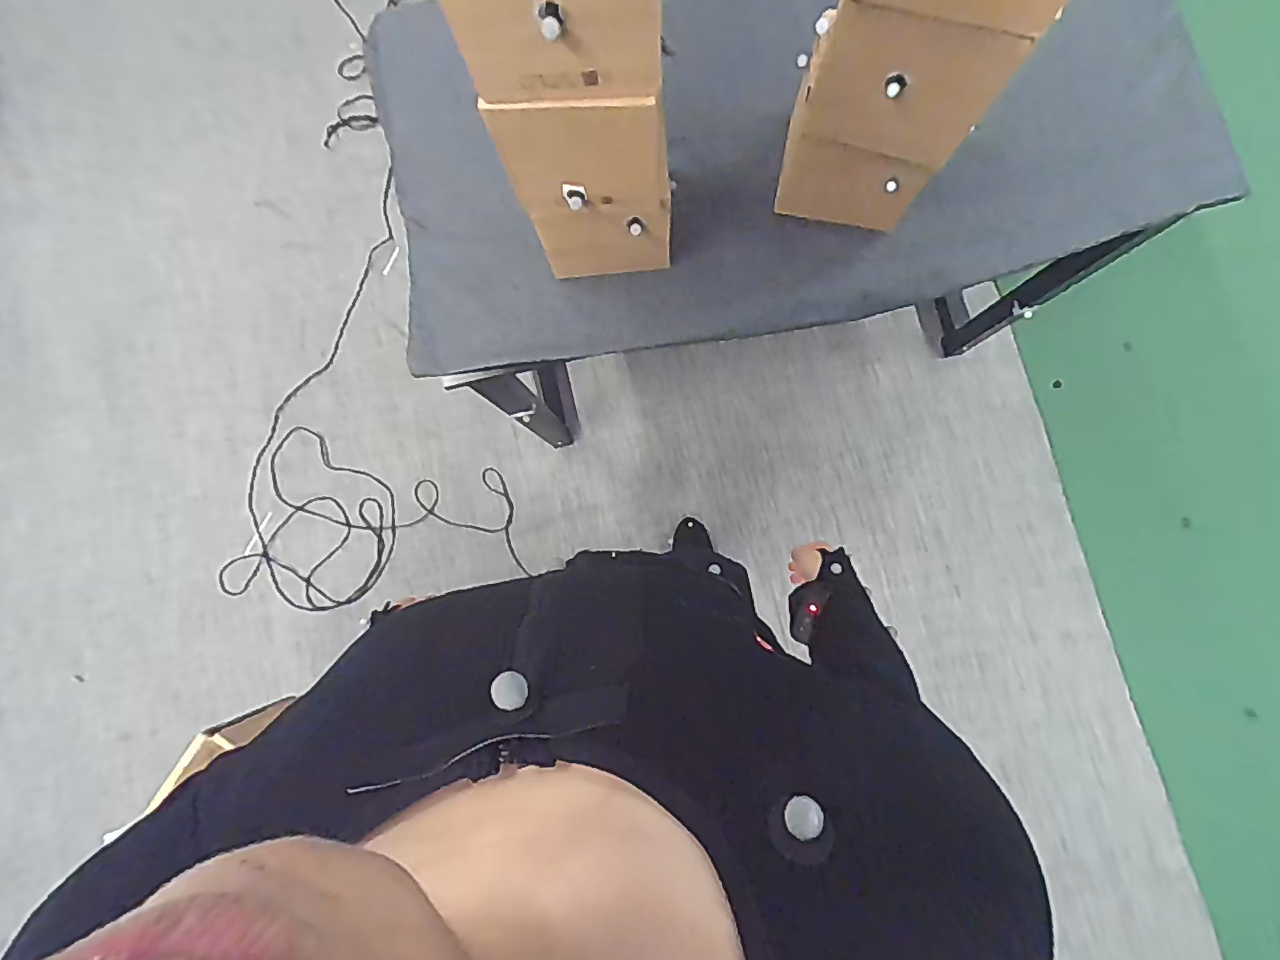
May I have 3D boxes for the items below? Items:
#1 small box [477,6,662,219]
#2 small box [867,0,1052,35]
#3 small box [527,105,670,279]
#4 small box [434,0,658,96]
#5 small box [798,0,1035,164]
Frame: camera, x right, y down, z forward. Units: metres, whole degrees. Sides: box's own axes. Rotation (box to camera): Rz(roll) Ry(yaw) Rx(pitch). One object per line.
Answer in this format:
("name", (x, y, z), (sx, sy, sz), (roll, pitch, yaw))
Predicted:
("small box", (-0.062, -0.410, 0.581), (0.168, 0.176, 0.179), (0, 85, 4))
("small box", (0.278, -0.489, 0.405), (0.179, 0.176, 0.168), (16, 84, 4))
("small box", (-0.053, -0.397, 0.743), (0.179, 0.176, 0.168), (-5, 83, 2))
("small box", (-0.072, -0.434, 0.419), (0.168, 0.176, 0.179), (-1, 84, 4))
("small box", (0.289, -0.471, 0.567), (0.179, 0.176, 0.168), (18, 84, 5))
